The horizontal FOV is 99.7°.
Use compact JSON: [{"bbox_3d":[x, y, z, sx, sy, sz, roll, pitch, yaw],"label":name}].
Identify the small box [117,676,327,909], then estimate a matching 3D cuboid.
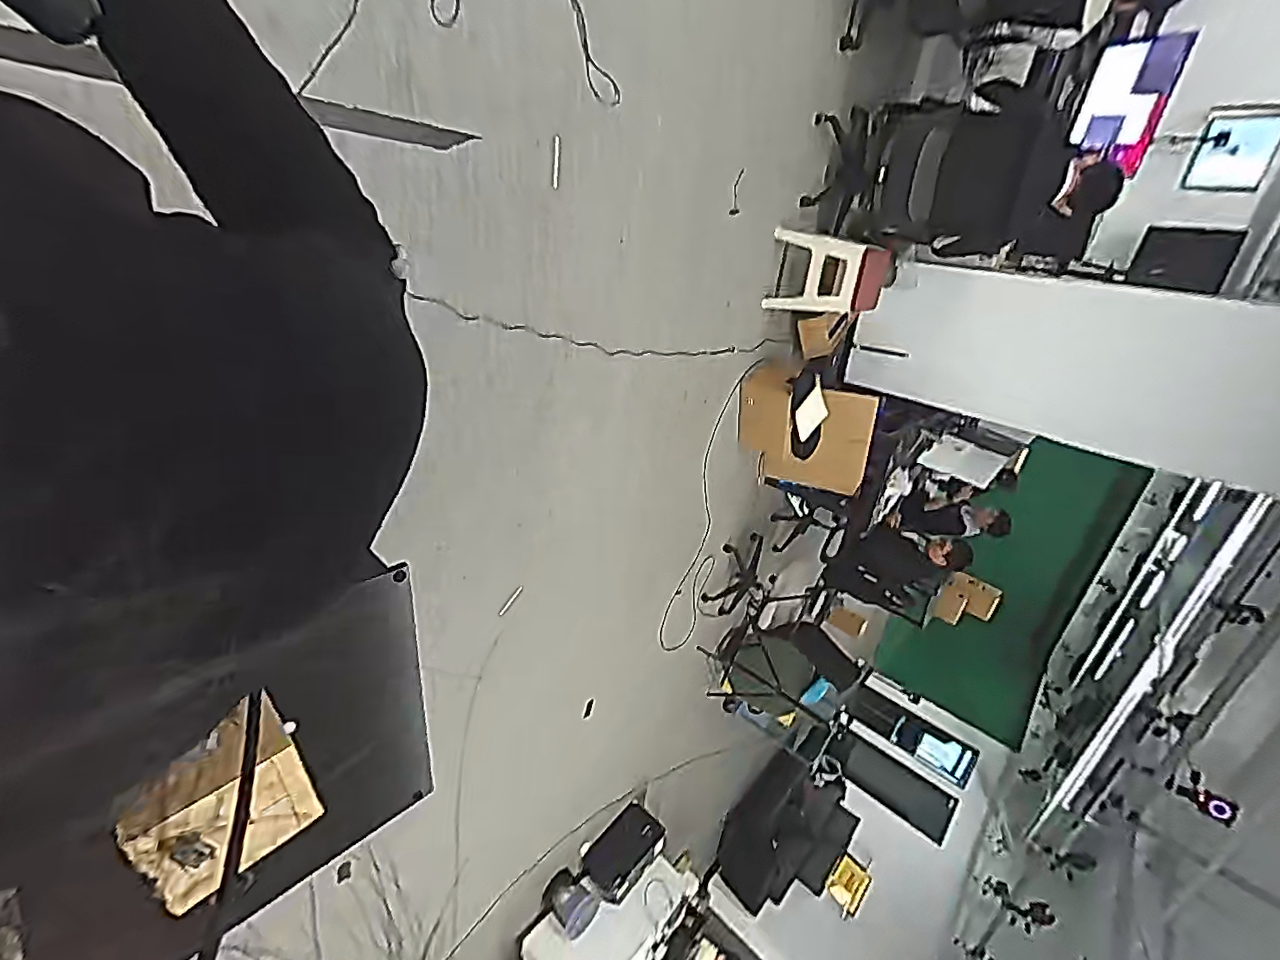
[{"bbox_3d":[-0.570,0.412,0.740,0.179,0.176,0.168,-27,131,-42],"label":"small box"}]
